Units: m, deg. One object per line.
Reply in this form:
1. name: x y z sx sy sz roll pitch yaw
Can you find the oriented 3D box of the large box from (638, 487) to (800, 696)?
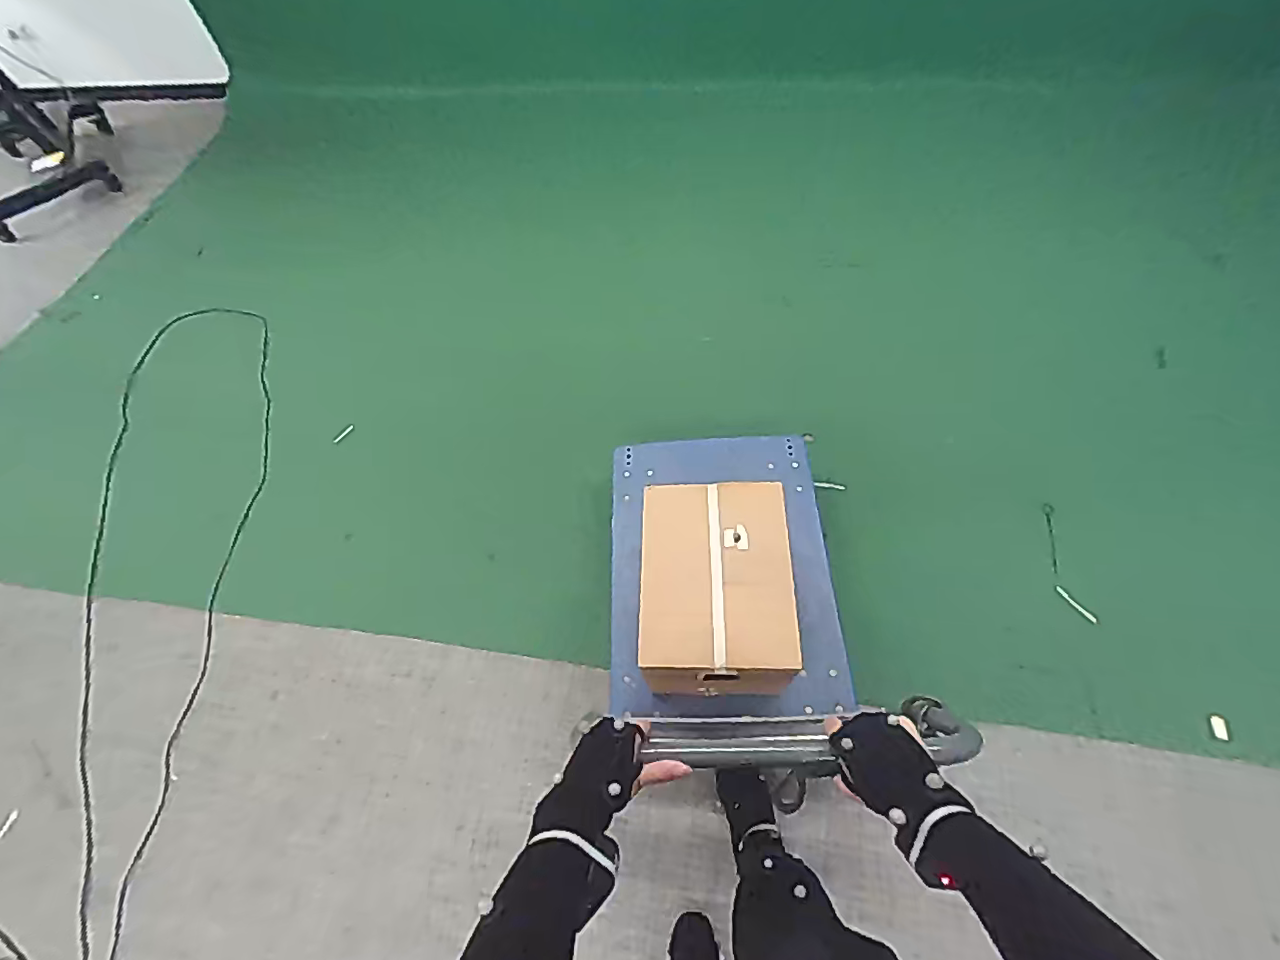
1. large box: 0.171 0.267 1.256 0.320 0.320 0.408 -1 59 6
